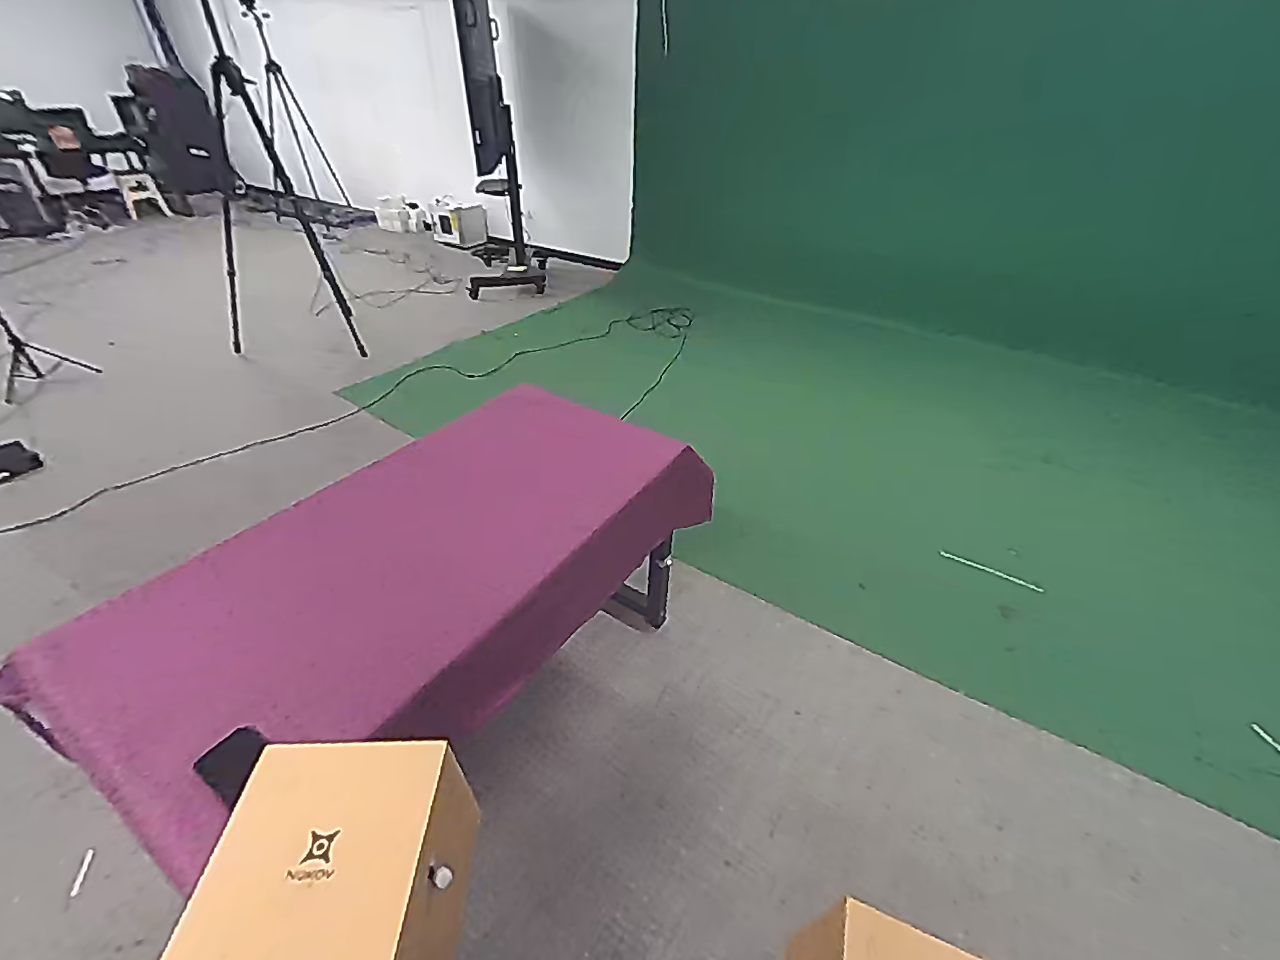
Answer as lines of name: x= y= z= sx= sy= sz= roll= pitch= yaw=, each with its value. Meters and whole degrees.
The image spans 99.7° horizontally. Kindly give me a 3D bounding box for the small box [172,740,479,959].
small box: x=-0.253 y=0.361 z=0.490 sx=0.168 sy=0.176 sz=0.179 roll=0 pitch=40 yaw=-1
